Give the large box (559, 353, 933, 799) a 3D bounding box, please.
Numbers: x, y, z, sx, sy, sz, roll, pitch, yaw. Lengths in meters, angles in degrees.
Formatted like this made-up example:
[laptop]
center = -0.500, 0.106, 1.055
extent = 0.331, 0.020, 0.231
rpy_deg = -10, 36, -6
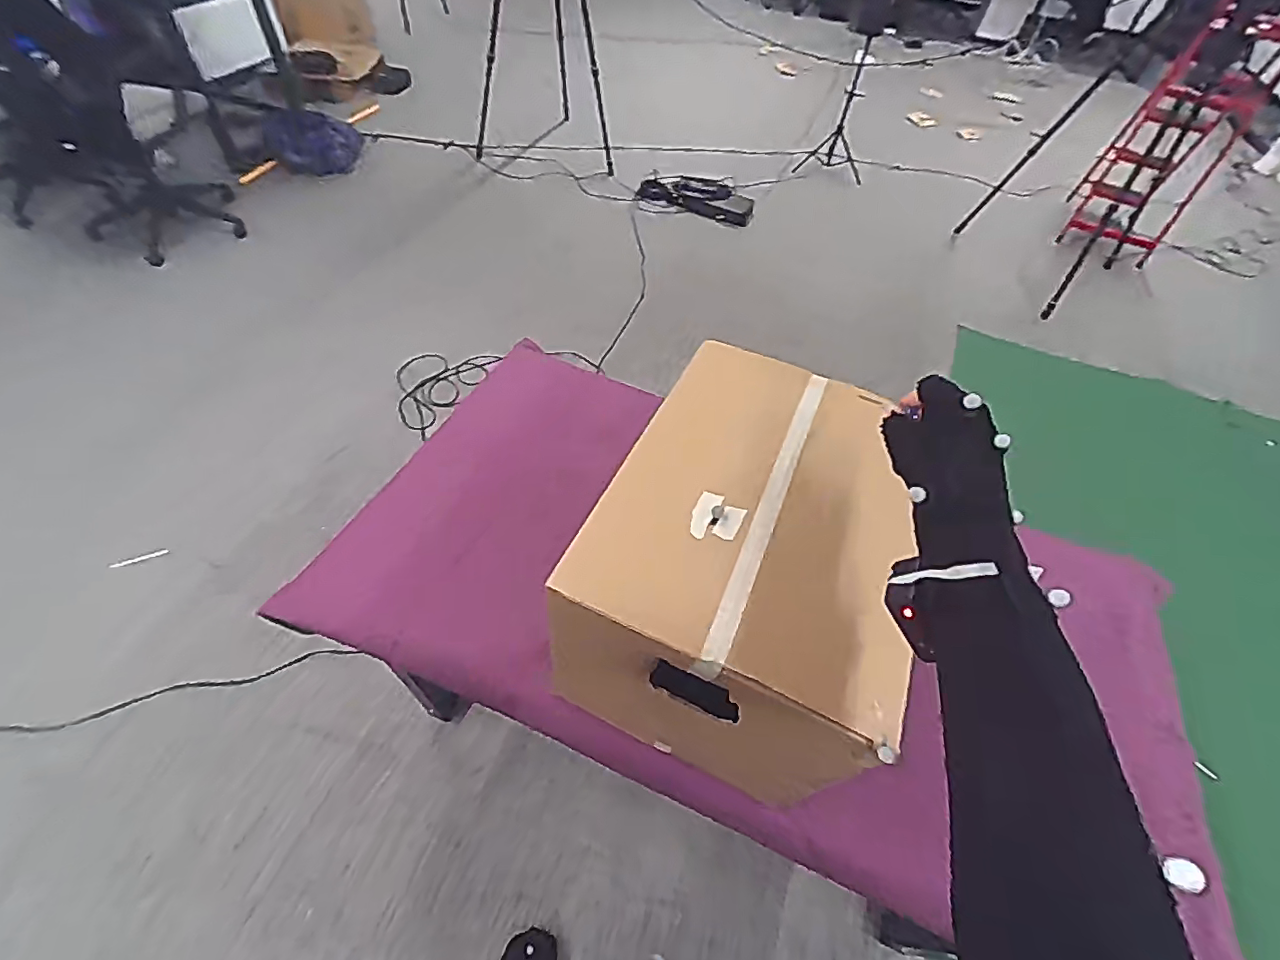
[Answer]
[large box]
center = 0.128, 0.114, 0.695
extent = 0.320, 0.320, 0.408
rpy_deg = 23, 54, 12
